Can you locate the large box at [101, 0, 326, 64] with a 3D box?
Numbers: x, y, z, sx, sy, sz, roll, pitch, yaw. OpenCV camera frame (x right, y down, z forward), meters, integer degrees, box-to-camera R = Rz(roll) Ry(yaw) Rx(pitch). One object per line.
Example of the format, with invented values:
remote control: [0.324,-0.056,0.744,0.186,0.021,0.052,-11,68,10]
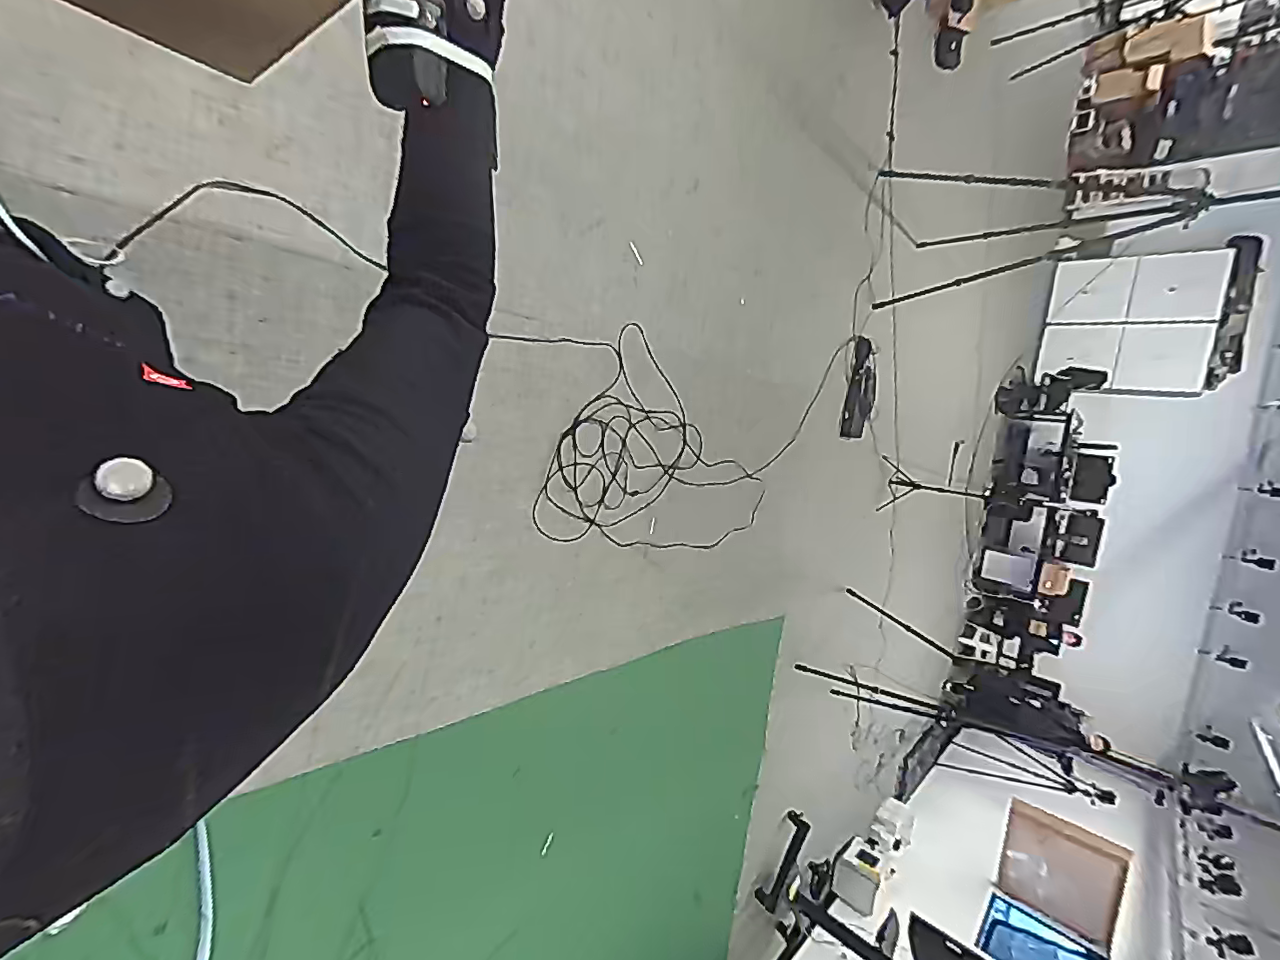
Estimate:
large box: [-0.379,-0.504,0.260,0.408,0.320,0.320,-1,108,-47]
